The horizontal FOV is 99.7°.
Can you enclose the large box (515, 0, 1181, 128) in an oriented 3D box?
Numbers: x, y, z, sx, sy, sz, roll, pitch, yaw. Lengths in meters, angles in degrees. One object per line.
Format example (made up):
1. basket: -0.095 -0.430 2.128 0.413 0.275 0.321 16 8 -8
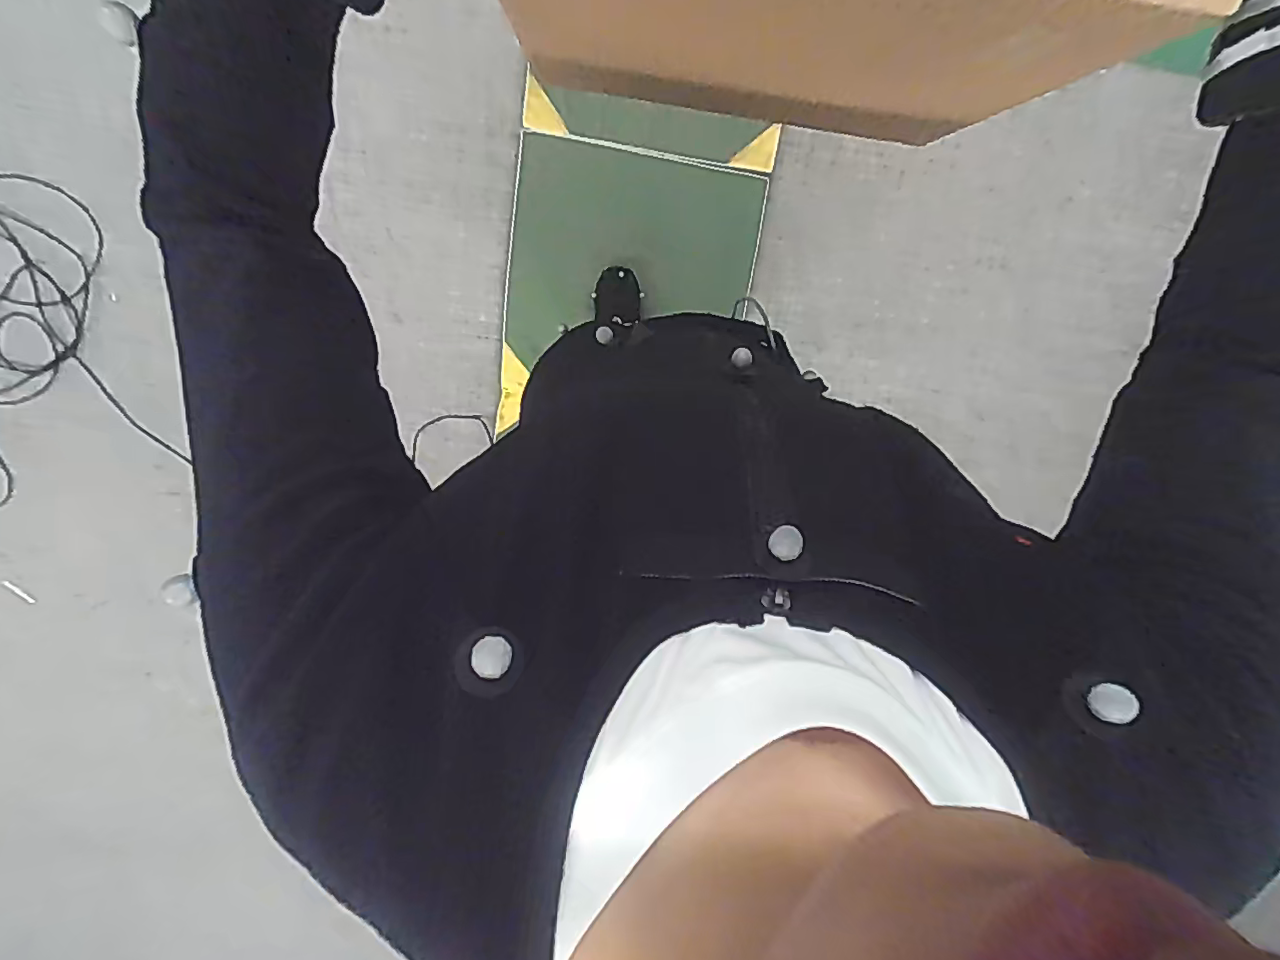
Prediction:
1. large box: 0.118 -0.469 0.358 0.408 0.320 0.320 6 112 -5
